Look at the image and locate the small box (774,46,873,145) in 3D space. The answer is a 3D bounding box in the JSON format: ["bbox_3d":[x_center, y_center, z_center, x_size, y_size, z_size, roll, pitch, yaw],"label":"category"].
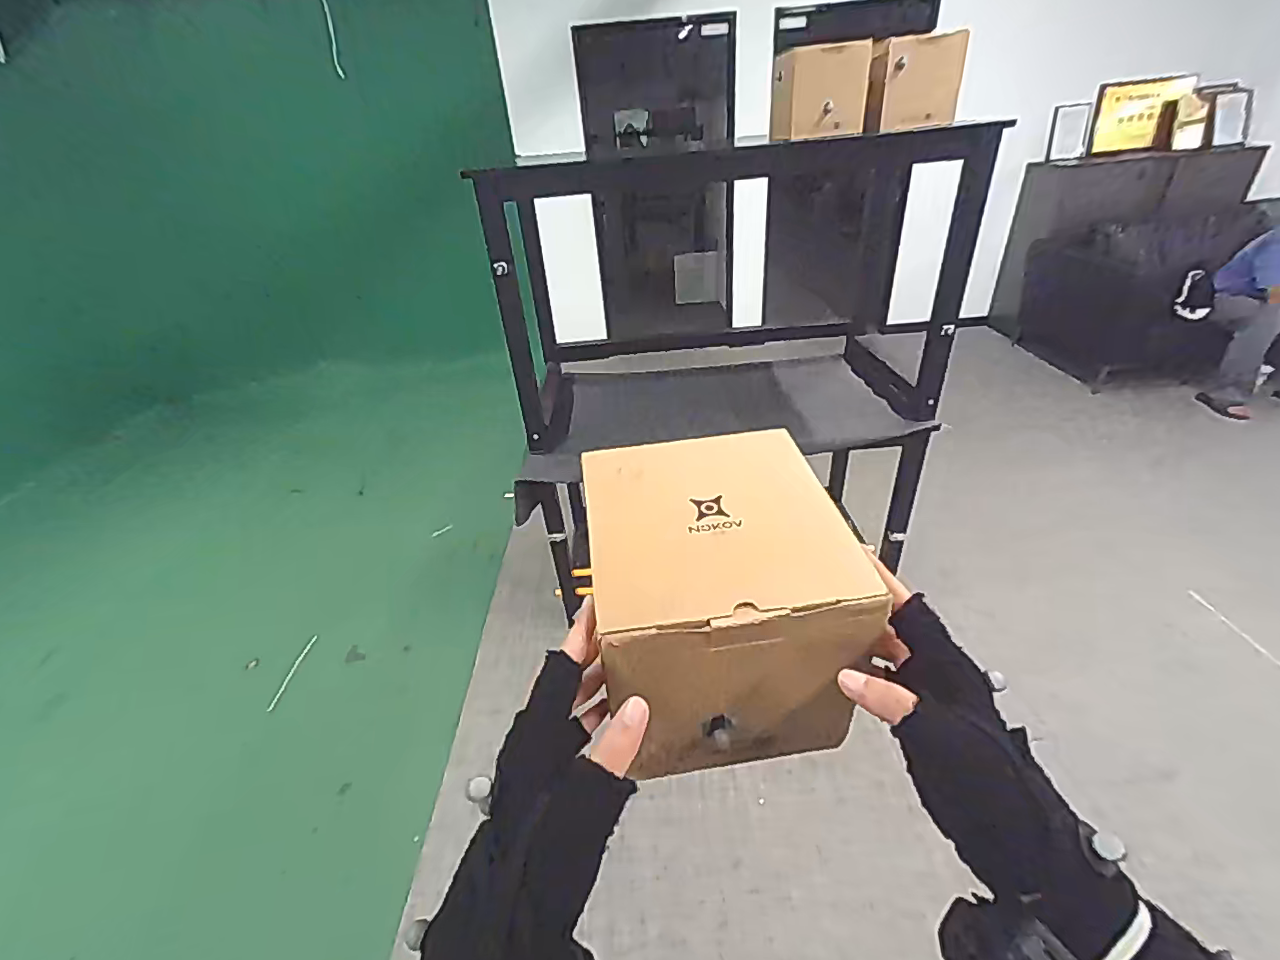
[{"bbox_3d":[0.412,-0.878,1.249,0.168,0.176,0.179,-5,32,0],"label":"small box"}]

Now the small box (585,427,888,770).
[{"bbox_3d":[0.050,0.082,0.405,0.168,0.176,0.179,-7,37,-4],"label":"small box"}]
